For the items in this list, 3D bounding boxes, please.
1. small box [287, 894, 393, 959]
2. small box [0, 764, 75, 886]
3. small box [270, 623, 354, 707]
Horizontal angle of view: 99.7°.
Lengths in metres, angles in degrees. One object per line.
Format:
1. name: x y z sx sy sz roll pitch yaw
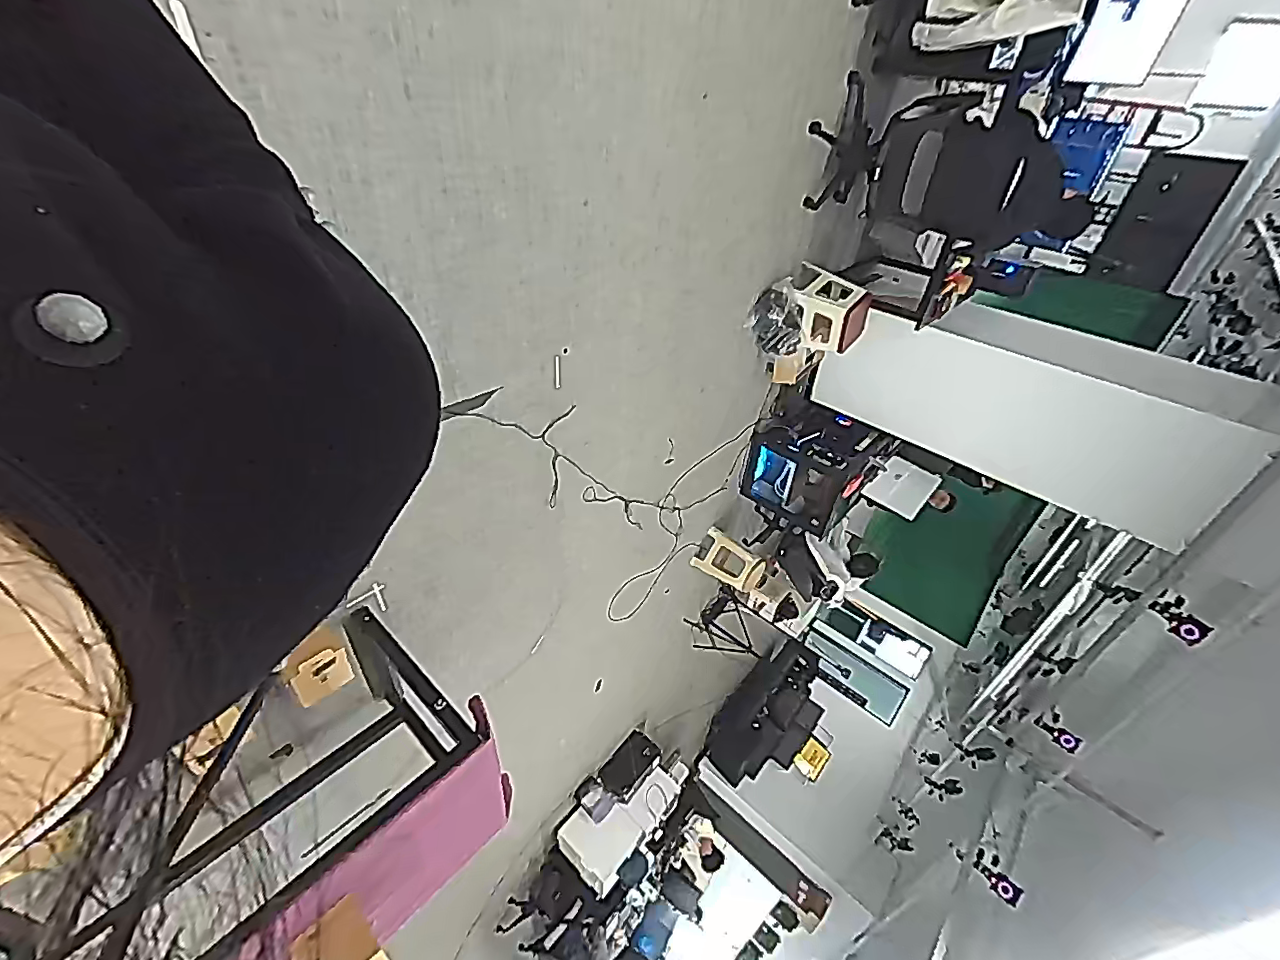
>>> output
1. small box: -0.745 1.188 1.348 0.168 0.176 0.179 -30 142 -39
2. small box: -1.533 0.847 1.320 0.179 0.176 0.168 -16 129 -52
3. small box: -1.081 0.598 1.781 0.168 0.176 0.179 -31 142 -40
